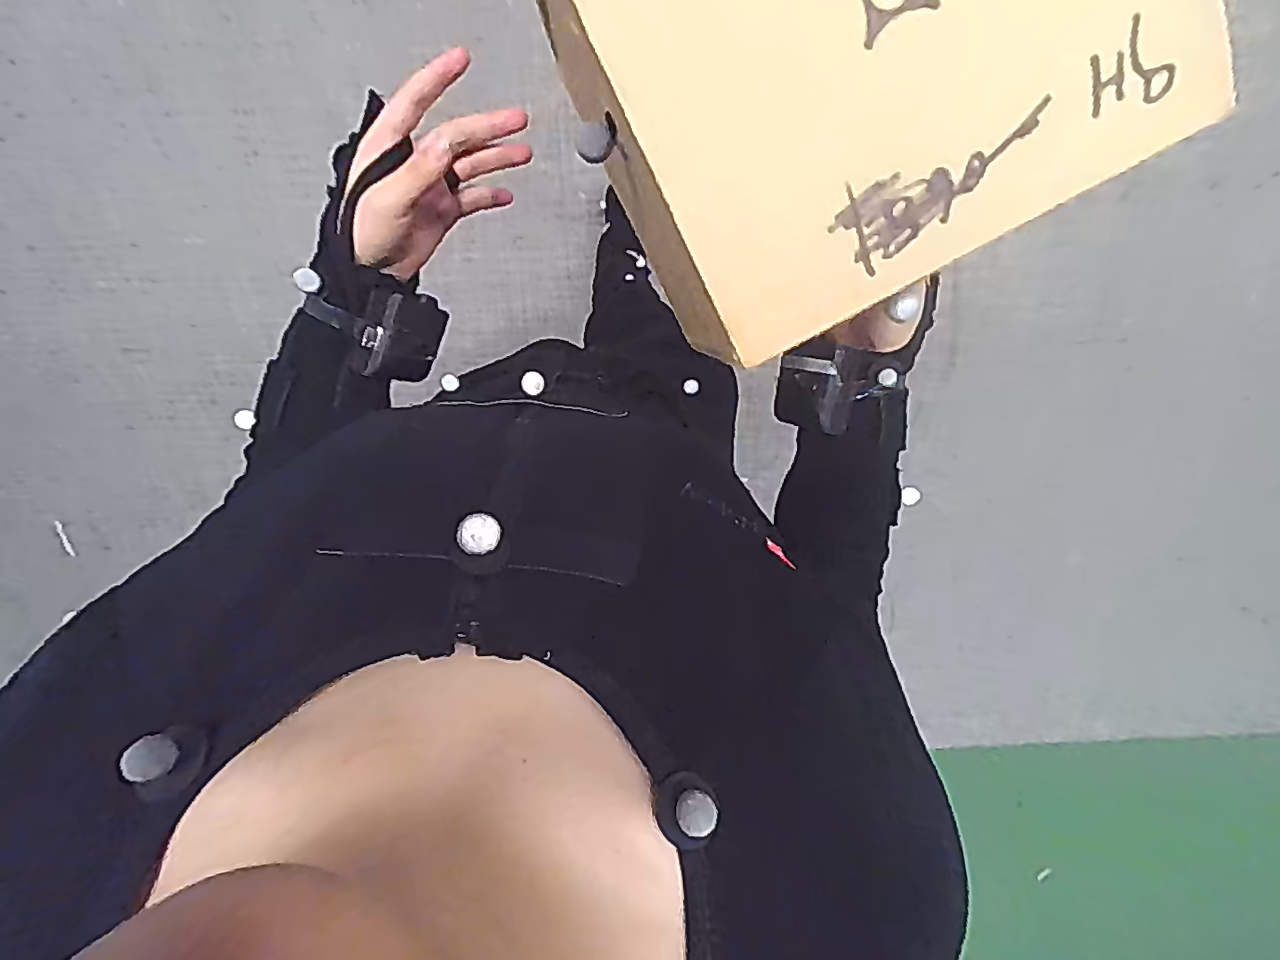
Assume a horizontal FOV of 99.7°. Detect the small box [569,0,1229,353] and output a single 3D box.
[{"bbox_3d":[0.076,-0.172,0.240,0.168,0.176,0.179,-28,104,7],"label":"small box"}]
